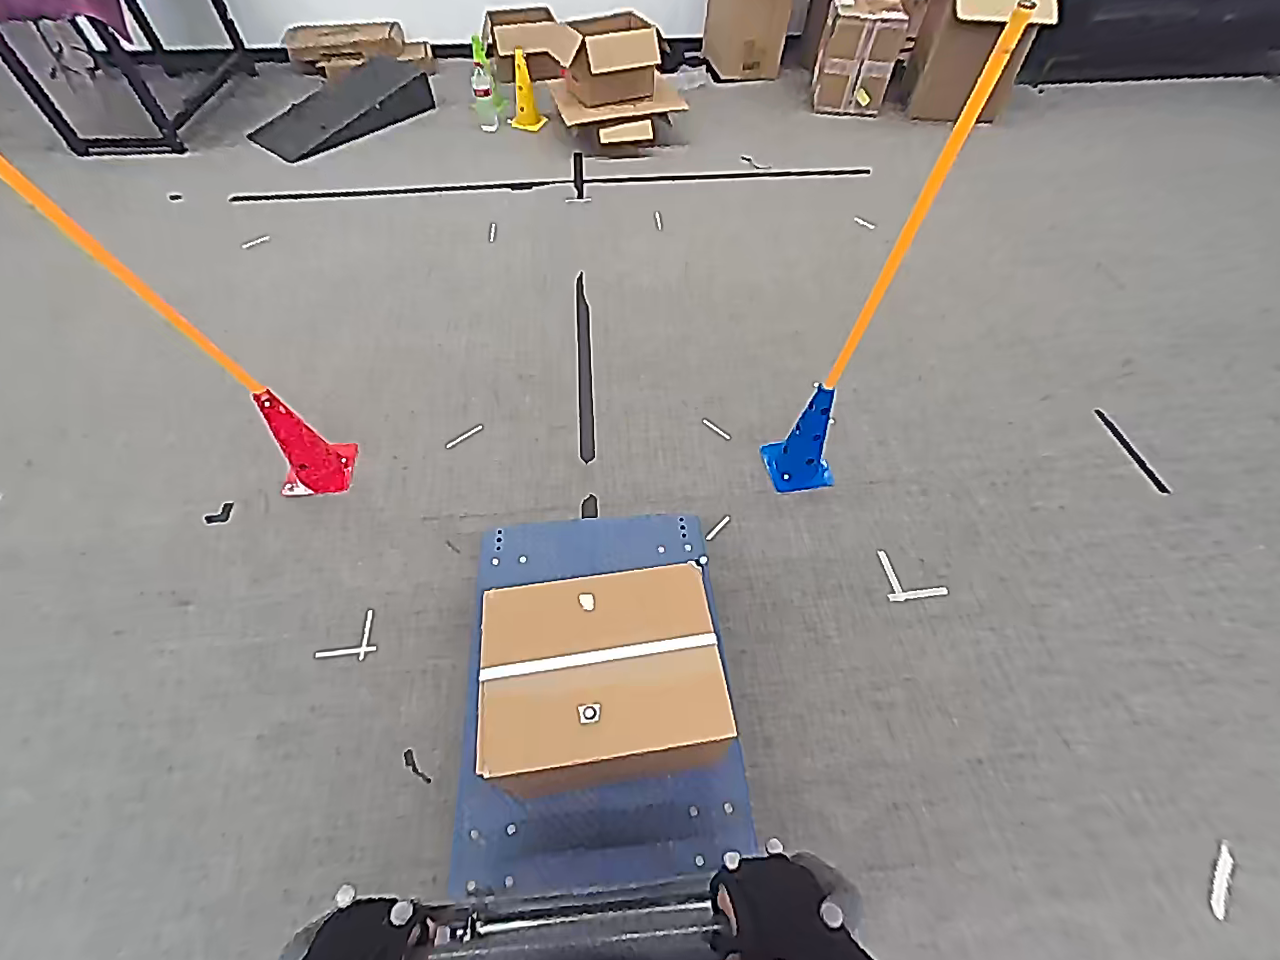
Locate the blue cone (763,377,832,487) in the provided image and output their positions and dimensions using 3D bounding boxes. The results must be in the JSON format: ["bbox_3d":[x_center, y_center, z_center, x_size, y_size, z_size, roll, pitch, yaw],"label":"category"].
[{"bbox_3d":[0.518,-0.155,1.646,0.193,0.380,0.192,-7,54,-6],"label":"blue cone"}]
